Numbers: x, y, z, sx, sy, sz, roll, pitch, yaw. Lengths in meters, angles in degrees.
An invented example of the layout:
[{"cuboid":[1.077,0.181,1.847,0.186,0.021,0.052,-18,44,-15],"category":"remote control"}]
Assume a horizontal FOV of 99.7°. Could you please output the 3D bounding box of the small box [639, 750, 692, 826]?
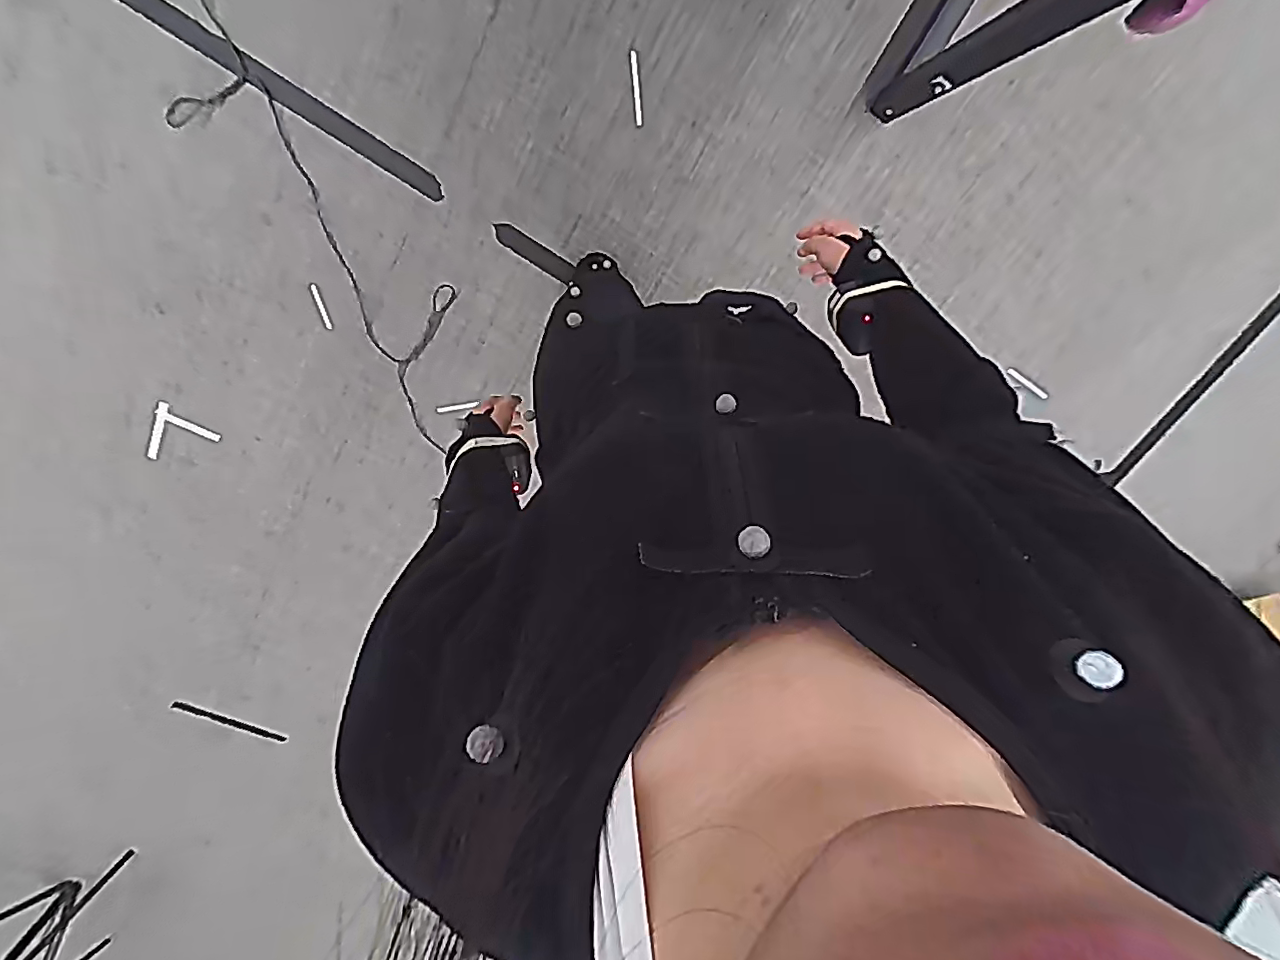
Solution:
[{"cuboid":[0.089,1.088,1.926,0.168,0.176,0.179,-7,114,1],"category":"small box"}]
